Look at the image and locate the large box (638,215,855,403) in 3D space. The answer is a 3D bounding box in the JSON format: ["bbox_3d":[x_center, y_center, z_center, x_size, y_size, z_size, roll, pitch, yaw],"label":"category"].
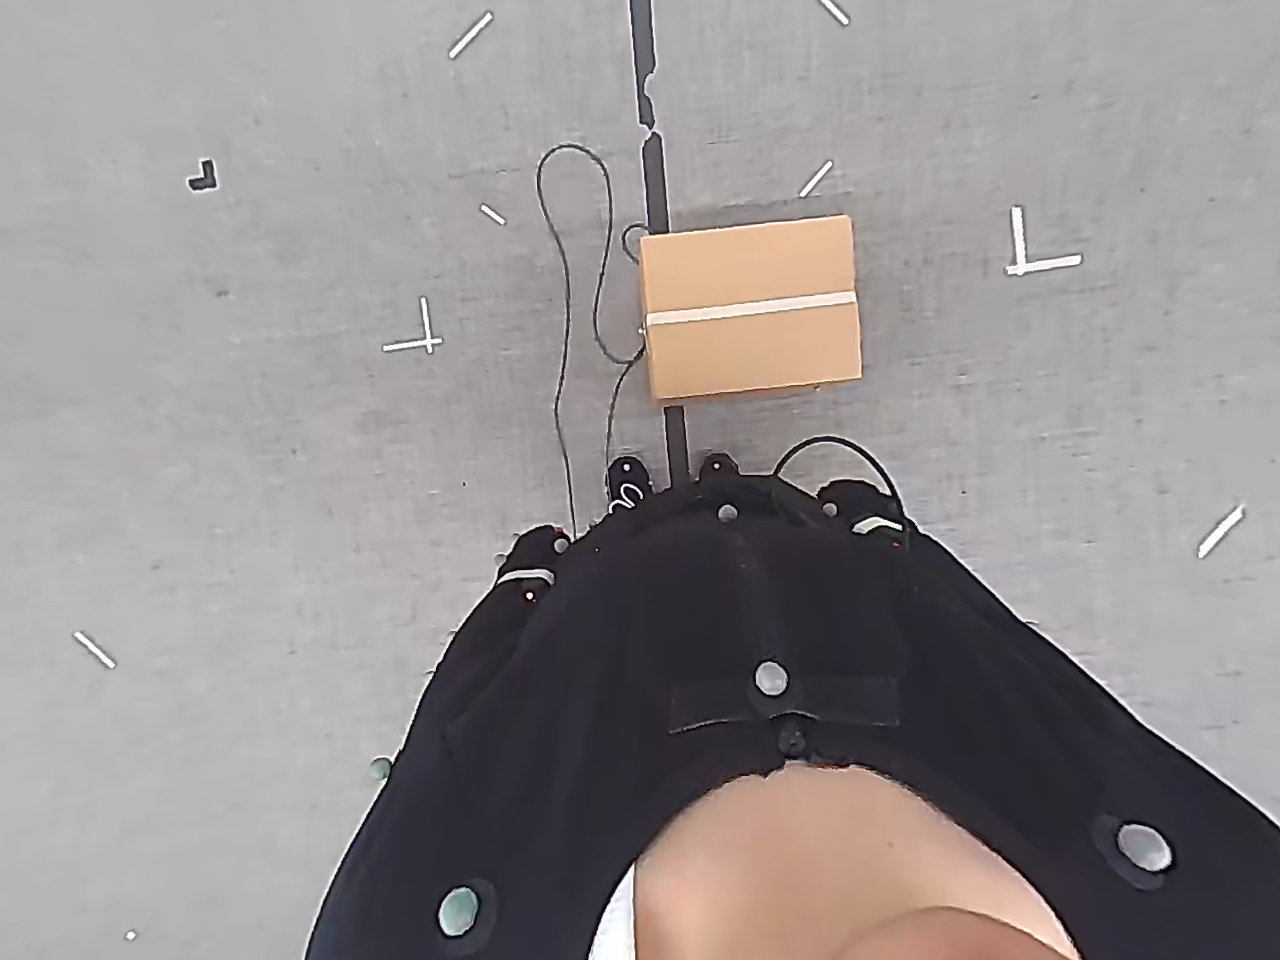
[{"bbox_3d":[0.213,-0.349,1.198,0.408,0.320,0.320,-6,94,1],"label":"large box"}]
